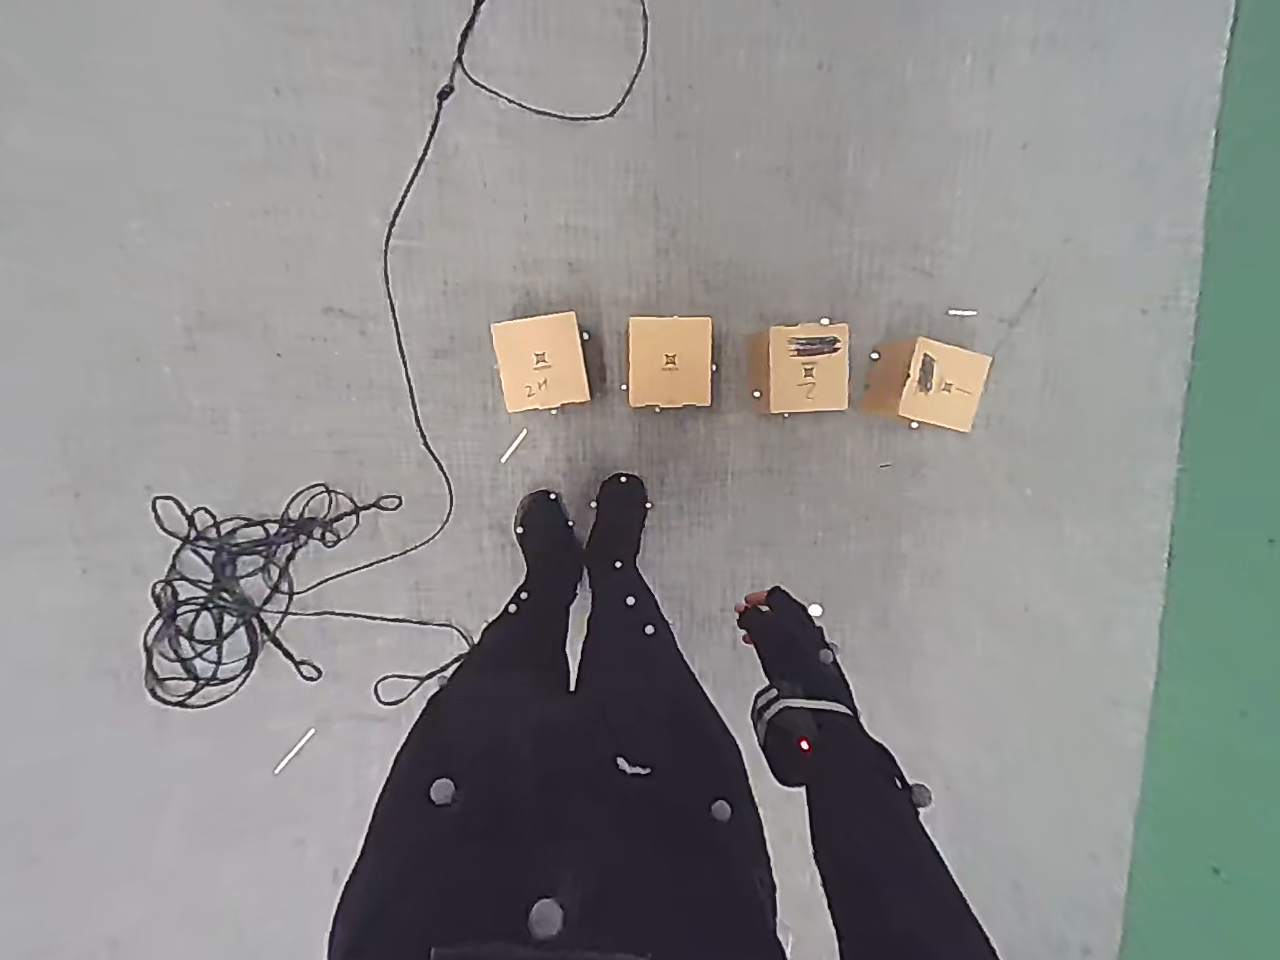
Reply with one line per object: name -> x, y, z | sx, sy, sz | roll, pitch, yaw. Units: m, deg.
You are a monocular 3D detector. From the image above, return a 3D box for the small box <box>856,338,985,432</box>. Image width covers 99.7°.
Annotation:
small box -> 0.617, -0.207, 1.212 | 0.179, 0.176, 0.168 | 12, 97, -8

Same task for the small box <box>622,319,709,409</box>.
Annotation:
small box -> 0.050, -0.242, 1.156 | 0.168, 0.176, 0.179 | -2, 98, -5

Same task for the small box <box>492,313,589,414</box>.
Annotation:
small box -> -0.201, -0.236, 1.131 | 0.168, 0.176, 0.179 | -10, 98, -3
